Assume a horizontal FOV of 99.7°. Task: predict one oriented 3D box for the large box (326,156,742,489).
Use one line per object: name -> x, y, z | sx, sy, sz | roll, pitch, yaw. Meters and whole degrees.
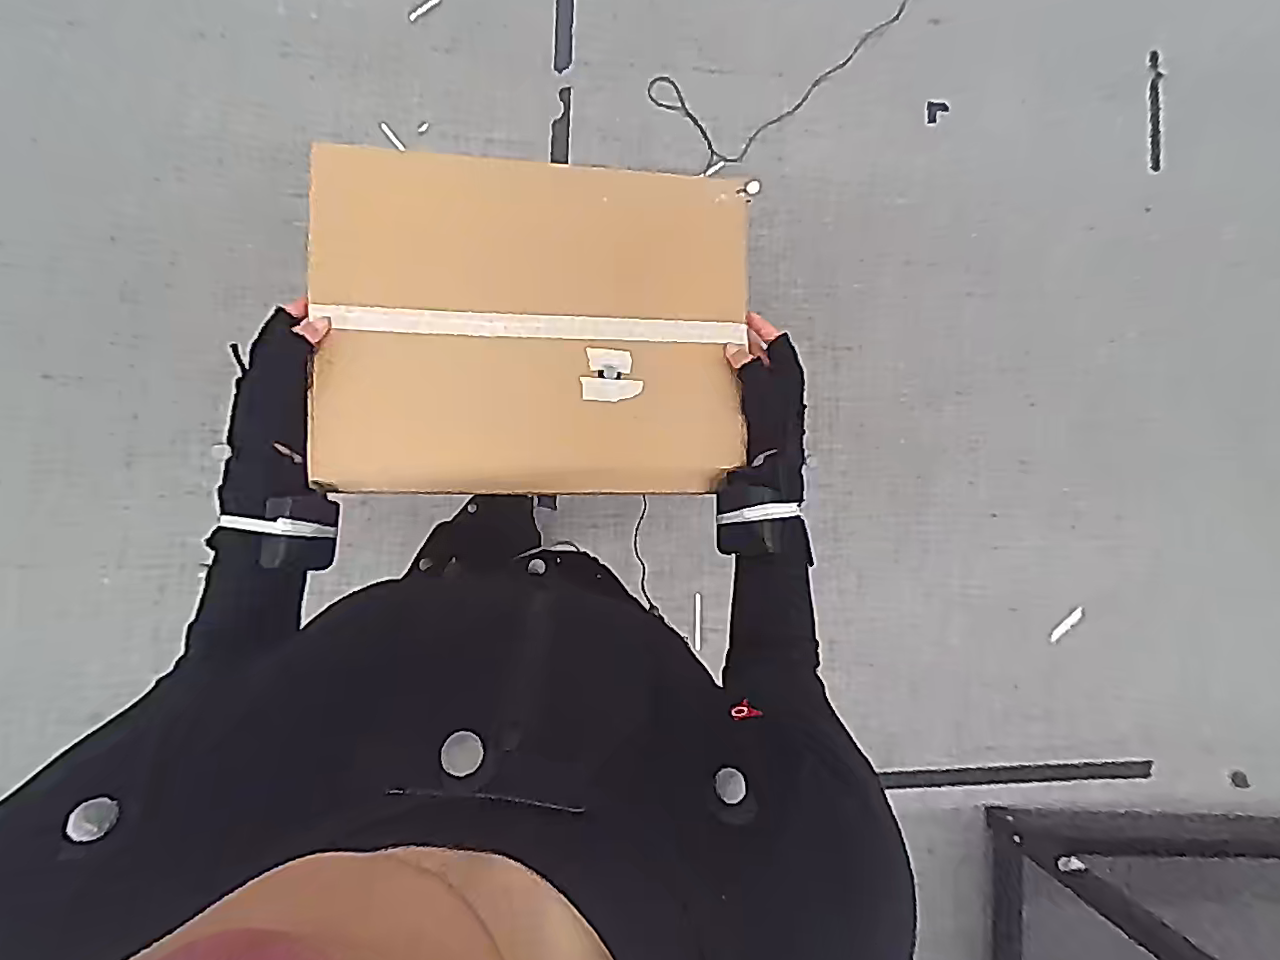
large box -> -0.117, -0.149, 0.674 | 0.408, 0.320, 0.320 | 0, 90, -9
